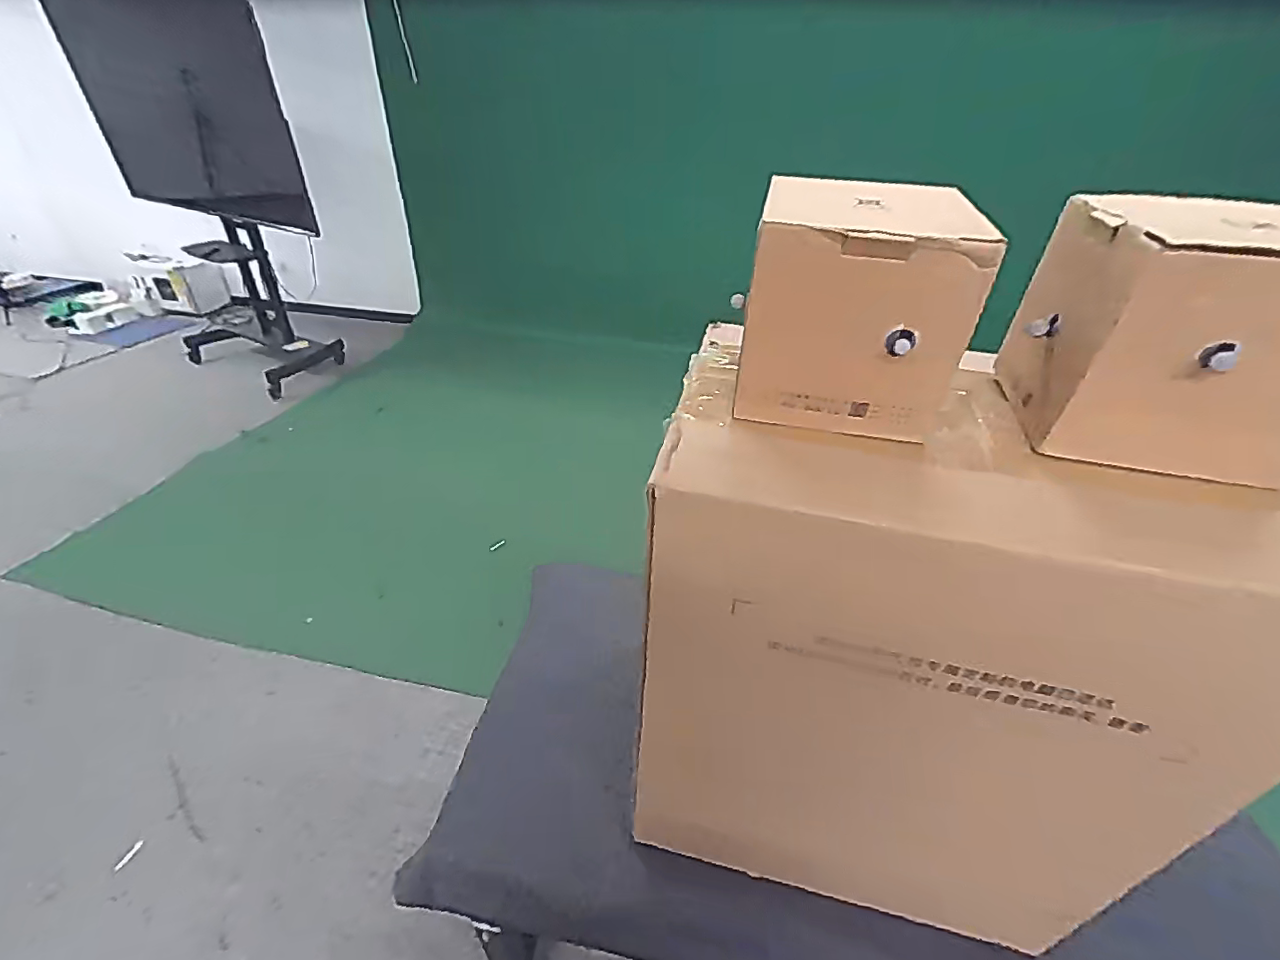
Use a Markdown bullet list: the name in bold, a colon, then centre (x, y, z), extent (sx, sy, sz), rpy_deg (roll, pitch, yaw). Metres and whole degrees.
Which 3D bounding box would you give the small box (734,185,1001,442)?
- **small box**: centre (0.182, -0.153, 0.488), extent (0.168, 0.176, 0.179), rpy_deg (10, 38, 9)

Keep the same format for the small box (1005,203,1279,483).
- **small box**: centre (0.431, -0.115, 0.441), extent (0.179, 0.176, 0.168), rpy_deg (9, 40, 11)
